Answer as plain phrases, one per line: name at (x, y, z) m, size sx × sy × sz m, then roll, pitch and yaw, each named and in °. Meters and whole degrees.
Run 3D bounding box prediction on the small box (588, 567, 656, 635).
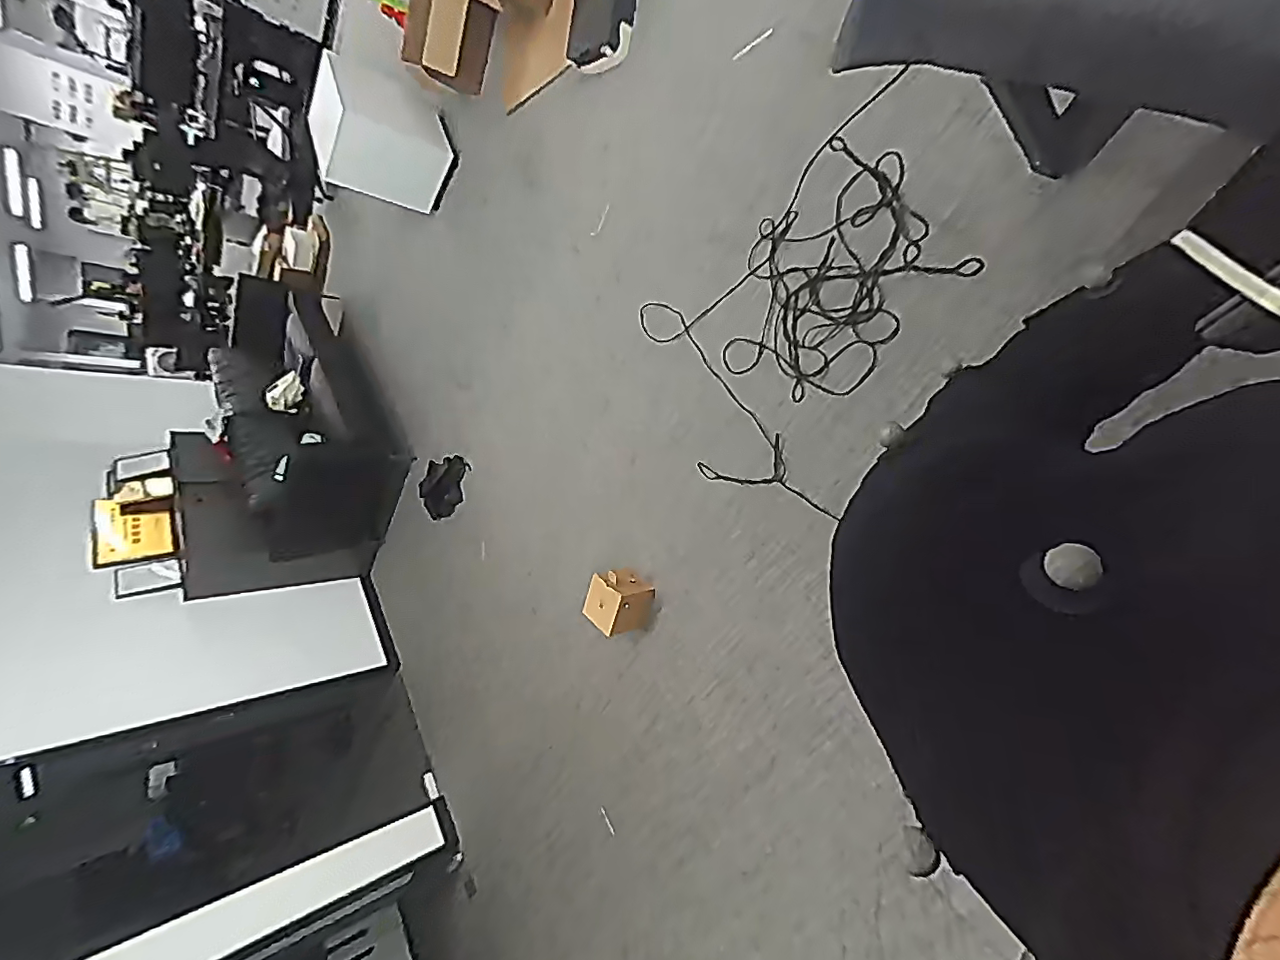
small box at (-0.063, 0.439, 1.990) m, size 0.168 × 0.176 × 0.179 m, roll 32°, pitch 112°, yaw 41°
